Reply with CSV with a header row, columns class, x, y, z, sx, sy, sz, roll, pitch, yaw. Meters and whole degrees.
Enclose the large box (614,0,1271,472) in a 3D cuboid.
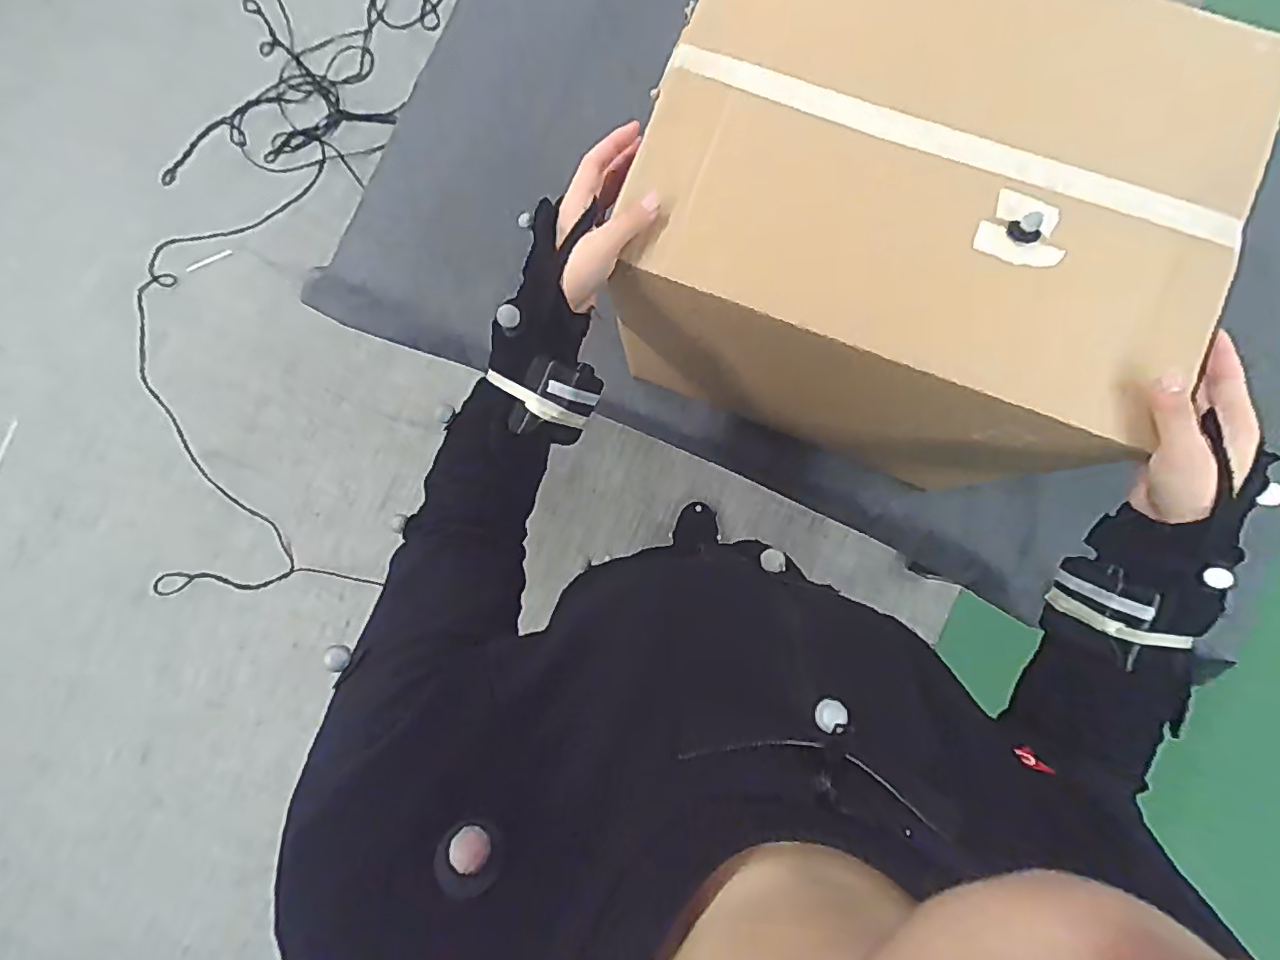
class,x,y,z,sx,sy,sz,roll,pitch,yaw
large box,0.219,-0.229,0.536,0.408,0.320,0.320,21,87,3
